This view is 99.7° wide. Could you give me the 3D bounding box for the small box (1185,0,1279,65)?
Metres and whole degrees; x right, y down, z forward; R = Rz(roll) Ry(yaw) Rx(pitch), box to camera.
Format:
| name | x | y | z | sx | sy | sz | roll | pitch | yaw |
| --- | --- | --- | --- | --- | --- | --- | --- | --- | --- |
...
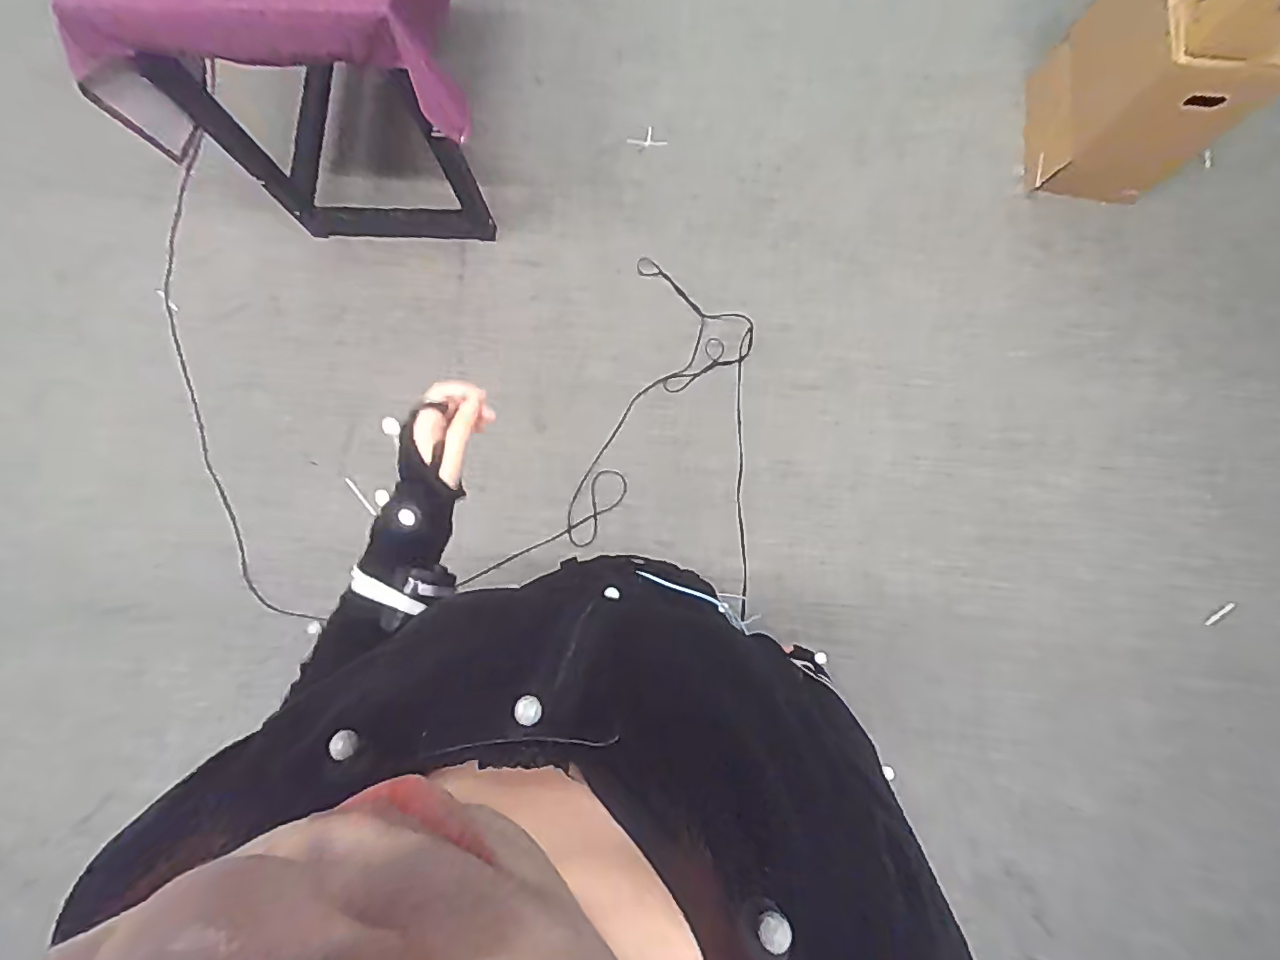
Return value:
| name | x | y | z | sx | sy | sz | roll | pitch | yaw |
| --- | --- | --- | --- | --- | --- | --- | --- | --- | --- |
| small box | 1.330 | -1.032 | 1.150 | 0.179 | 0.176 | 0.168 | 7 | 81 | 1 |
